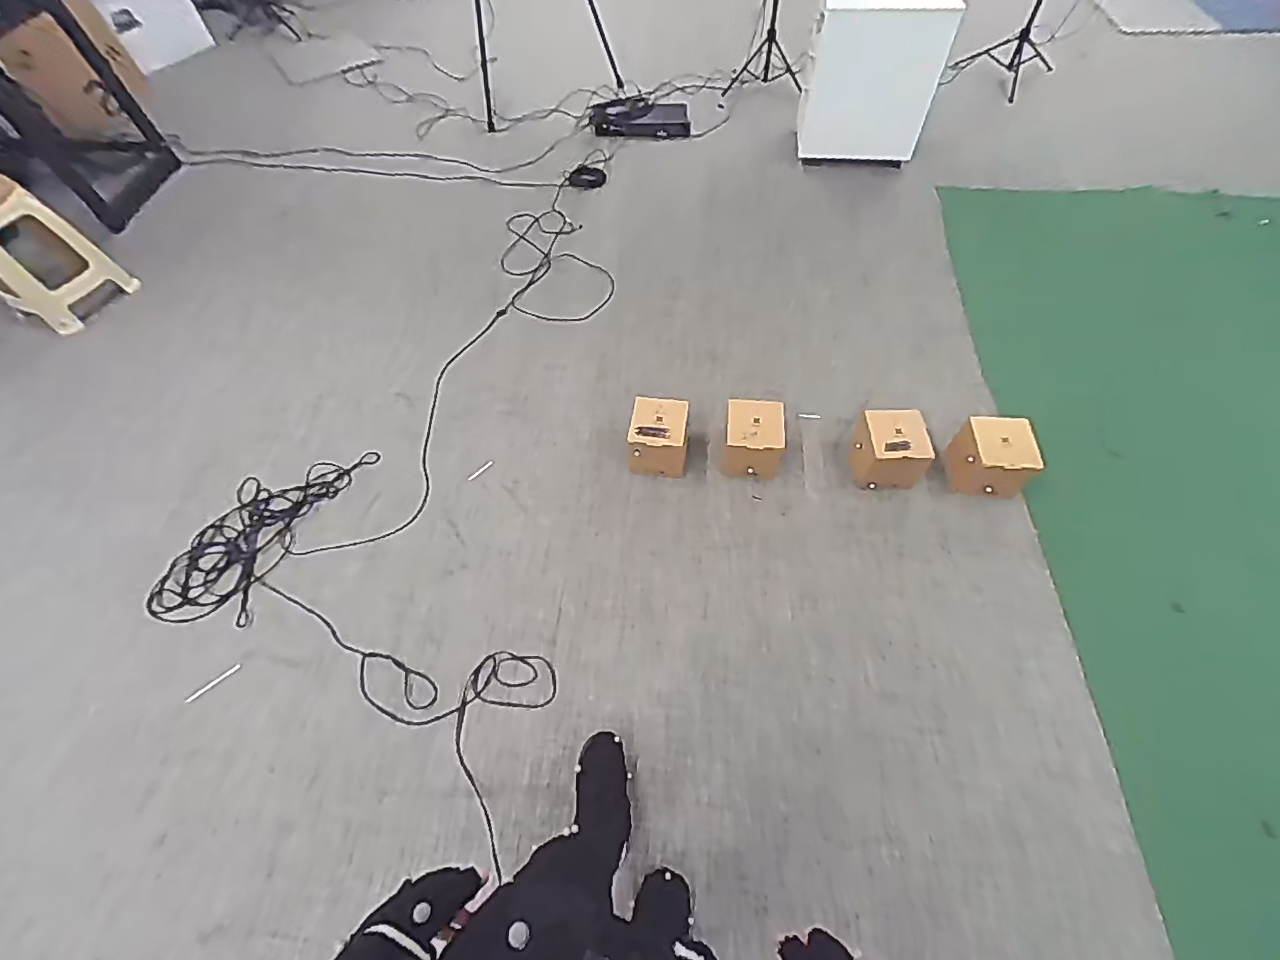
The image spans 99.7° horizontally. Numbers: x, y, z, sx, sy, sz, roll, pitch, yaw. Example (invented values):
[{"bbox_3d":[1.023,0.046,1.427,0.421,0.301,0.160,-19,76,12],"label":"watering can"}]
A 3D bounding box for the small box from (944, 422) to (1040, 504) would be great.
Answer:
[{"bbox_3d":[1.032,-0.050,1.605,0.168,0.176,0.179,3,58,5],"label":"small box"}]

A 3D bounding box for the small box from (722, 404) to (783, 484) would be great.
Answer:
[{"bbox_3d":[0.343,-0.111,1.664,0.168,0.176,0.179,4,58,6],"label":"small box"}]

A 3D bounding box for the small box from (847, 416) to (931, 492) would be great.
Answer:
[{"bbox_3d":[0.742,-0.075,1.630,0.168,0.176,0.179,0,57,2],"label":"small box"}]
